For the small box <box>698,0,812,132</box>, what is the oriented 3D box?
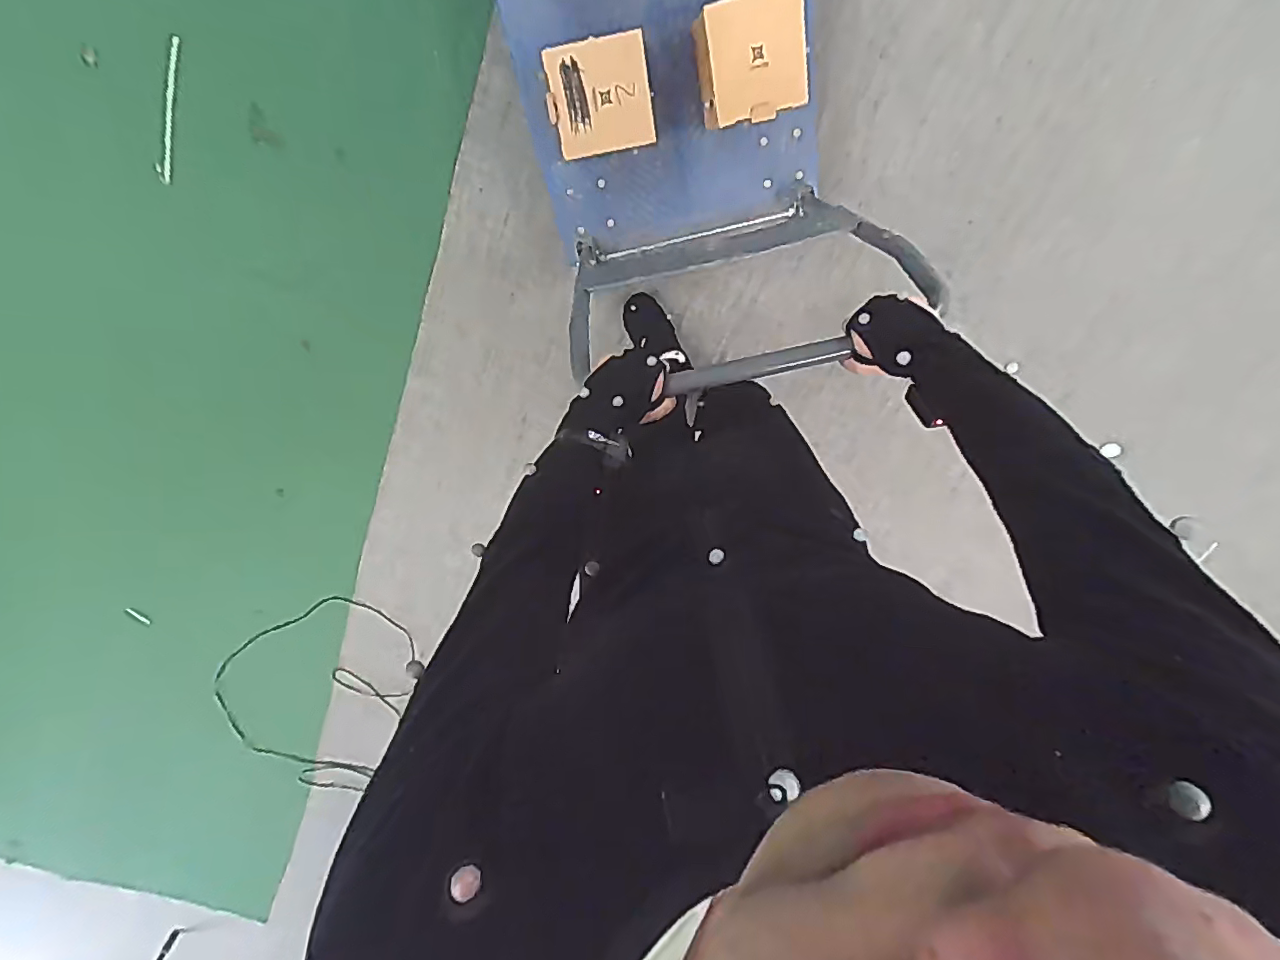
[{"bbox_3d":[0.206,-0.759,0.993,0.168,0.176,0.179,-12,123,5],"label":"small box"}]
